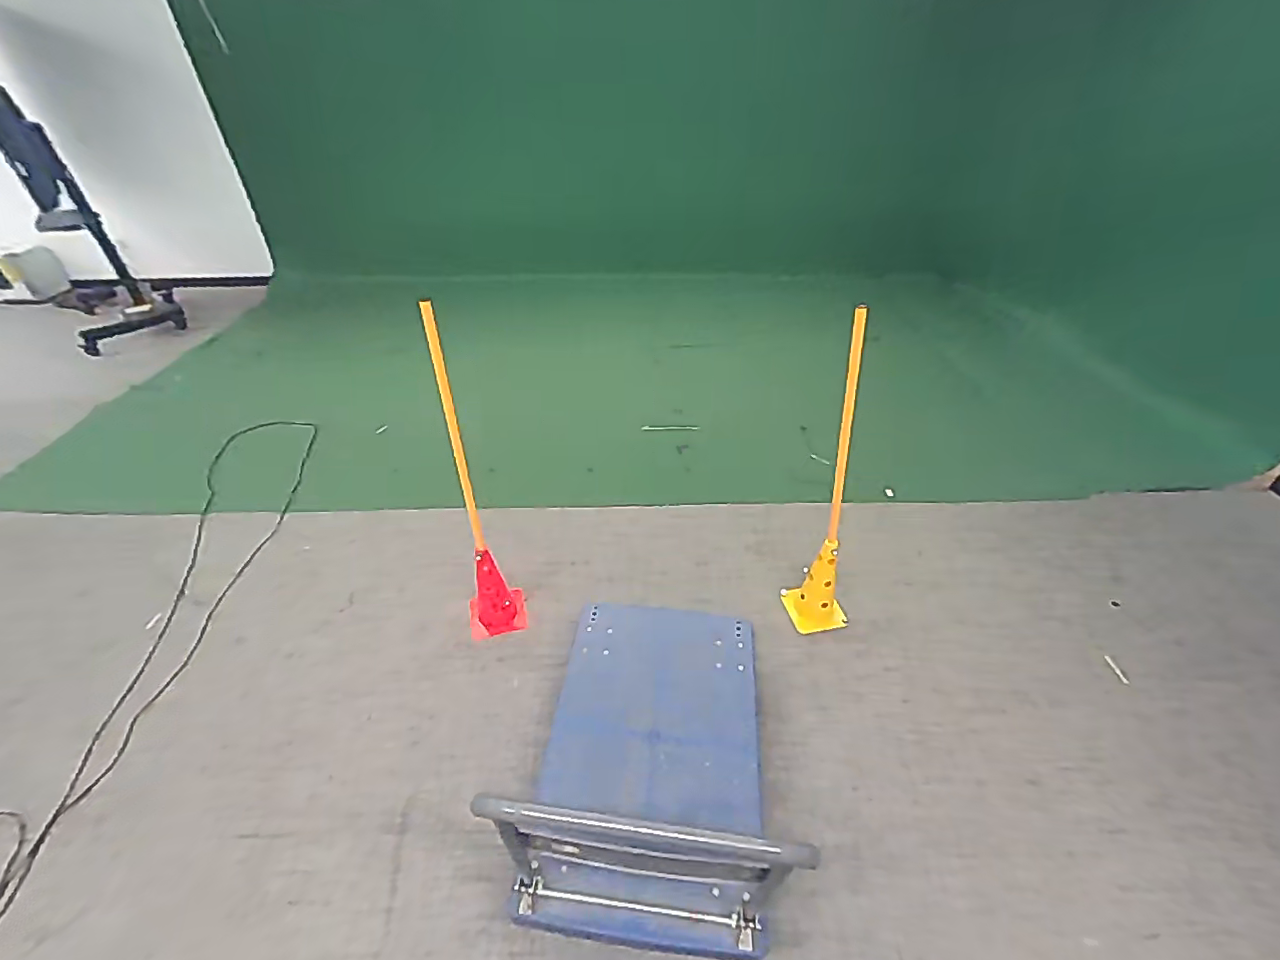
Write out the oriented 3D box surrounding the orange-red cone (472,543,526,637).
[{"bbox_3d":[-0.536,0.363,1.925,0.199,0.360,0.198,-11,39,-11],"label":"orange-red cone"}]
